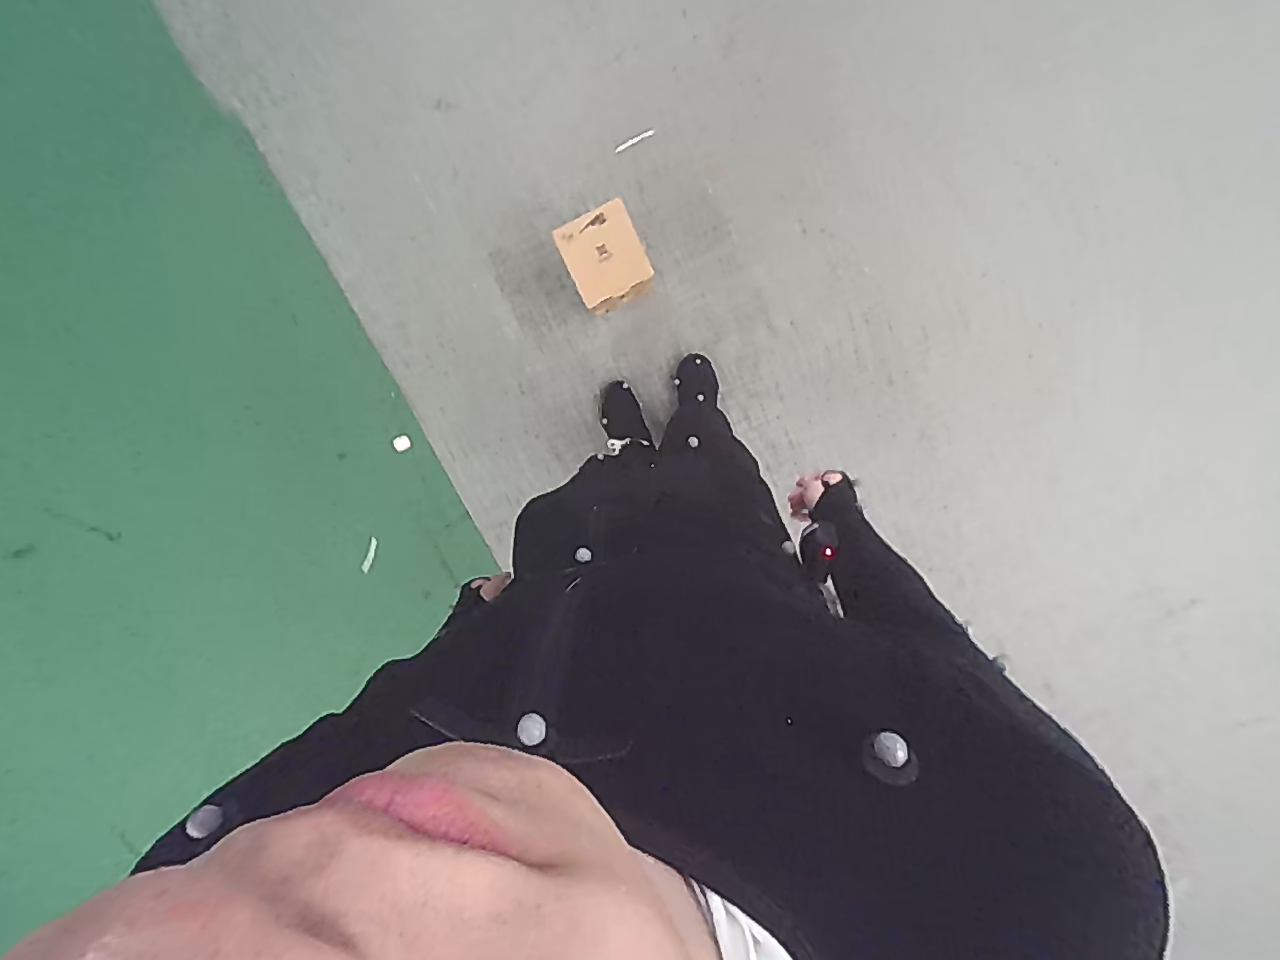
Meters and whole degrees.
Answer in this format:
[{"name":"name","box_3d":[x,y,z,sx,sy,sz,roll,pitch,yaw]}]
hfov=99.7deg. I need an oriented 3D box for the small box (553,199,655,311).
[{"name":"small box","box_3d":[-0.077,-0.501,1.233,0.168,0.176,0.179,-26,104,5]}]
